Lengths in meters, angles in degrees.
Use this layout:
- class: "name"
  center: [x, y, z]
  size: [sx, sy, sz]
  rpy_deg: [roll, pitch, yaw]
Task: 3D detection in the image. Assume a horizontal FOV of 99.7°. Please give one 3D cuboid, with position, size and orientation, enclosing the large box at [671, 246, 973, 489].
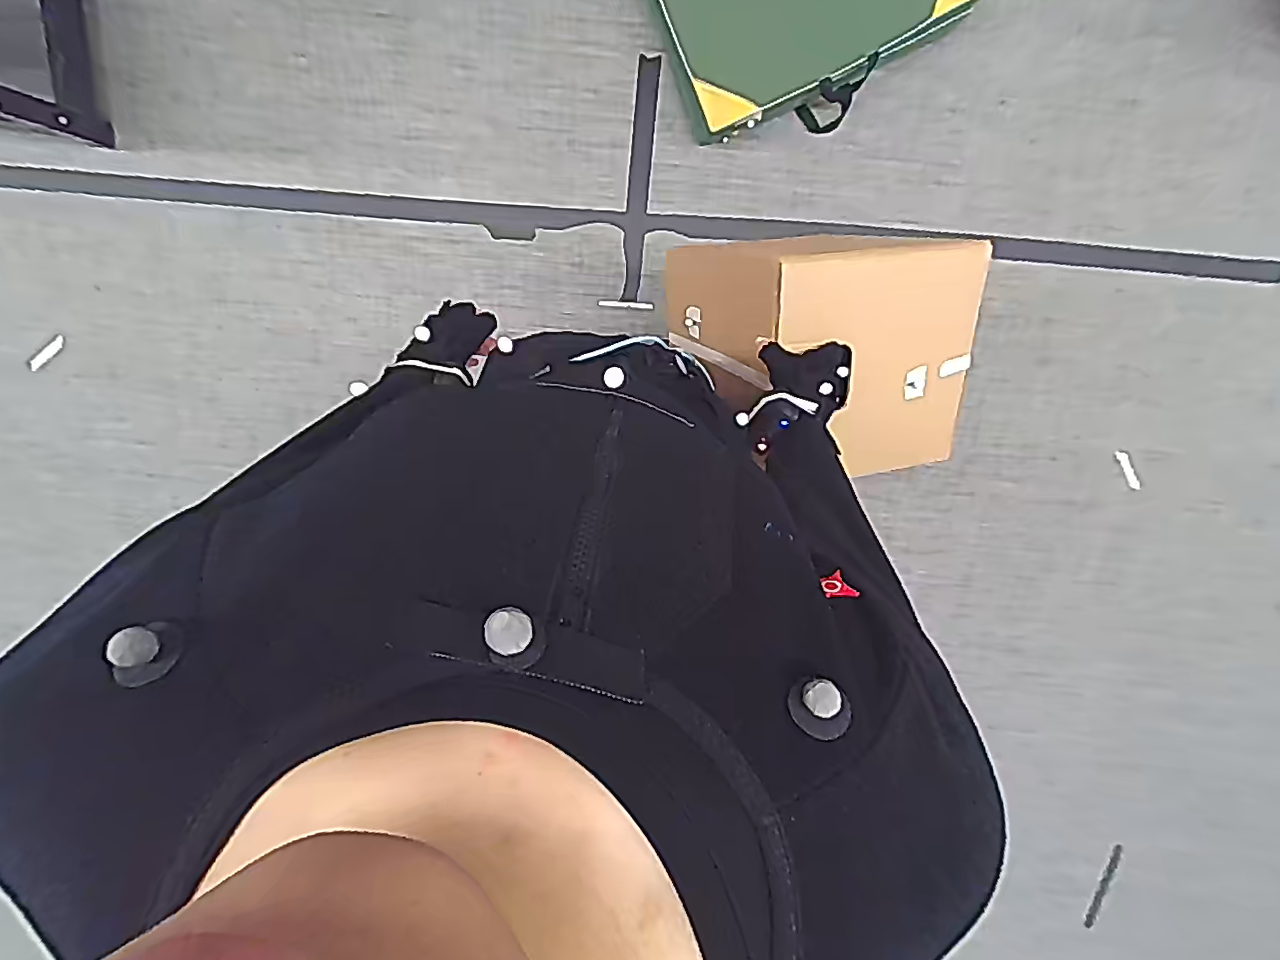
- class: "large box"
  center: [0.266, -0.222, 0.923]
  size: [0.320, 0.408, 0.320]
  rpy_deg: [-9, 116, -13]
